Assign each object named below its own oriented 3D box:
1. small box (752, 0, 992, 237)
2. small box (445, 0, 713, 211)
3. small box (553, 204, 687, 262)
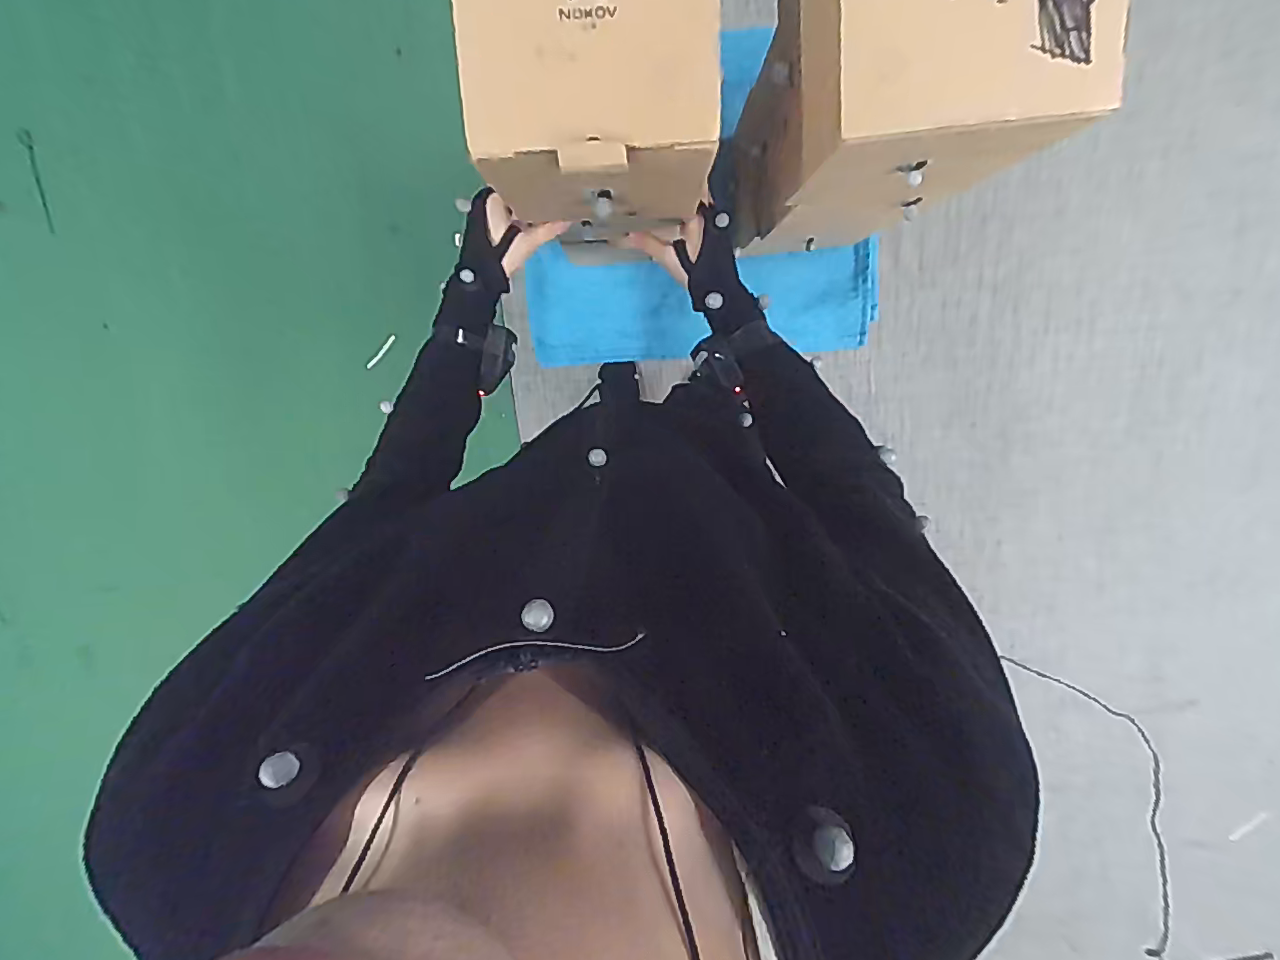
[{"bbox_3d":[0.220,-0.359,0.555,0.179,0.176,0.168,-5,103,3],"label":"small box"},{"bbox_3d":[-0.036,-0.311,0.403,0.168,0.176,0.179,-1,102,0],"label":"small box"},{"bbox_3d":[-0.025,-0.394,0.720,0.168,0.176,0.179,-2,103,0],"label":"small box"}]
